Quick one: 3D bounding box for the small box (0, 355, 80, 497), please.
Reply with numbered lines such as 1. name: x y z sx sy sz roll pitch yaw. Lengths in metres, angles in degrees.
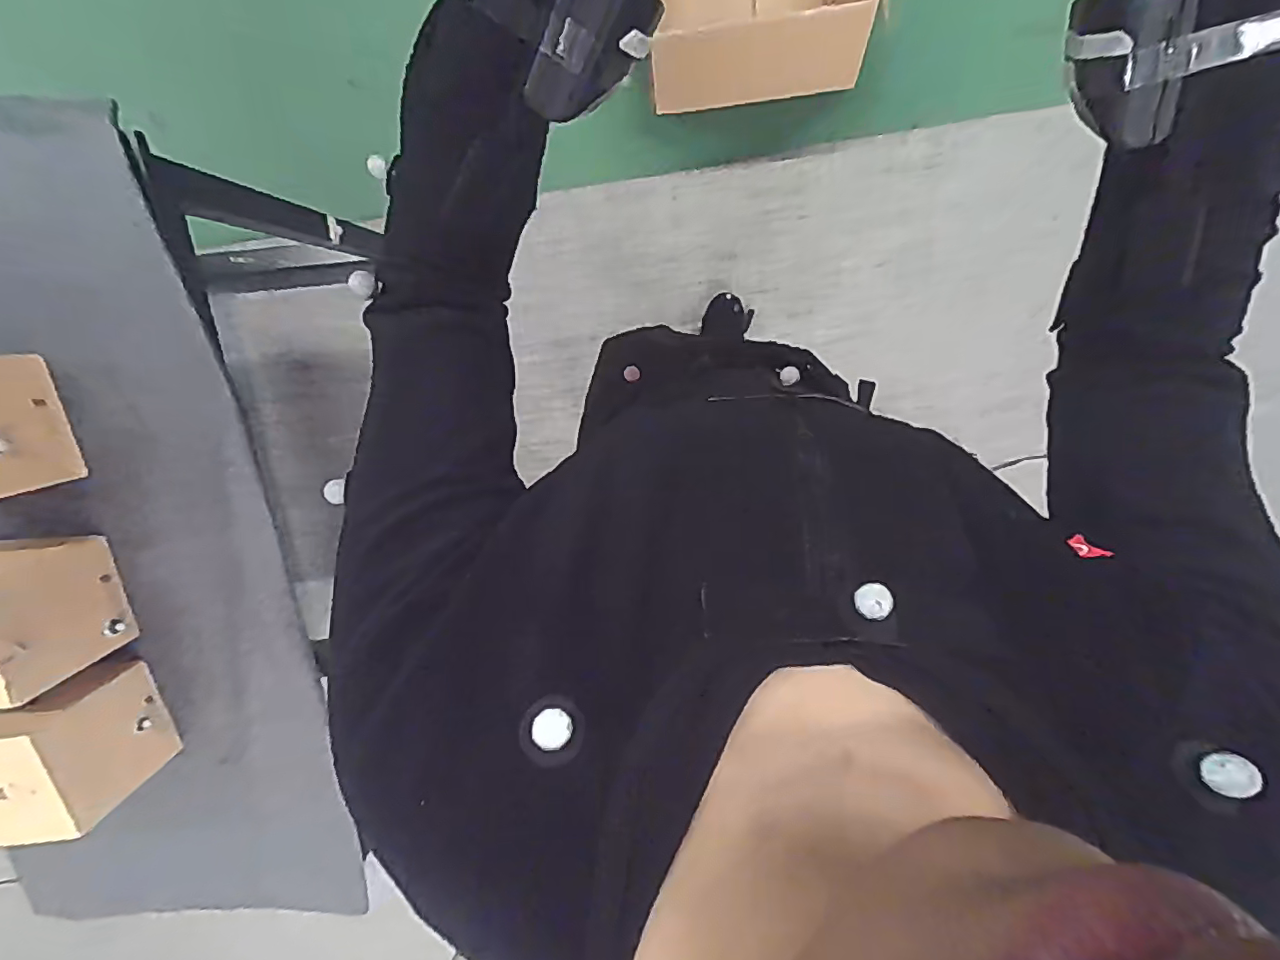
1. small box: -0.855 -0.059 0.660 0.179 0.176 0.168 -5 105 4
